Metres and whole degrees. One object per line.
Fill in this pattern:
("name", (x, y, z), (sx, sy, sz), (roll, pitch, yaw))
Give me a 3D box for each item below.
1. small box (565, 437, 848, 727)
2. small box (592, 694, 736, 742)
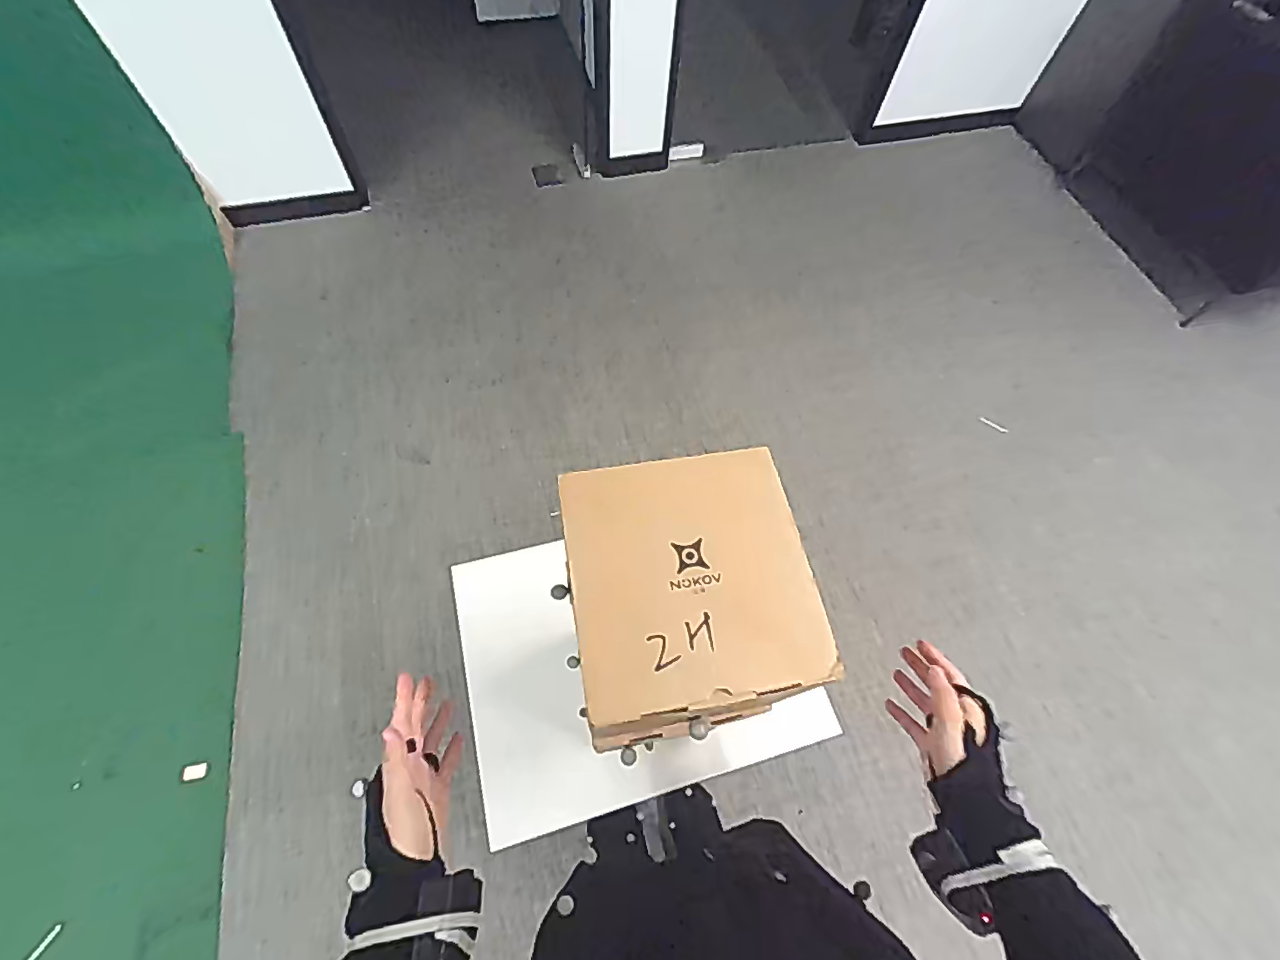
("small box", (0.033, 0.089, 0.440), (0.168, 0.176, 0.179), (-9, 64, -7))
("small box", (0.015, 0.244, 0.730), (0.168, 0.176, 0.179), (-7, 64, -7))
